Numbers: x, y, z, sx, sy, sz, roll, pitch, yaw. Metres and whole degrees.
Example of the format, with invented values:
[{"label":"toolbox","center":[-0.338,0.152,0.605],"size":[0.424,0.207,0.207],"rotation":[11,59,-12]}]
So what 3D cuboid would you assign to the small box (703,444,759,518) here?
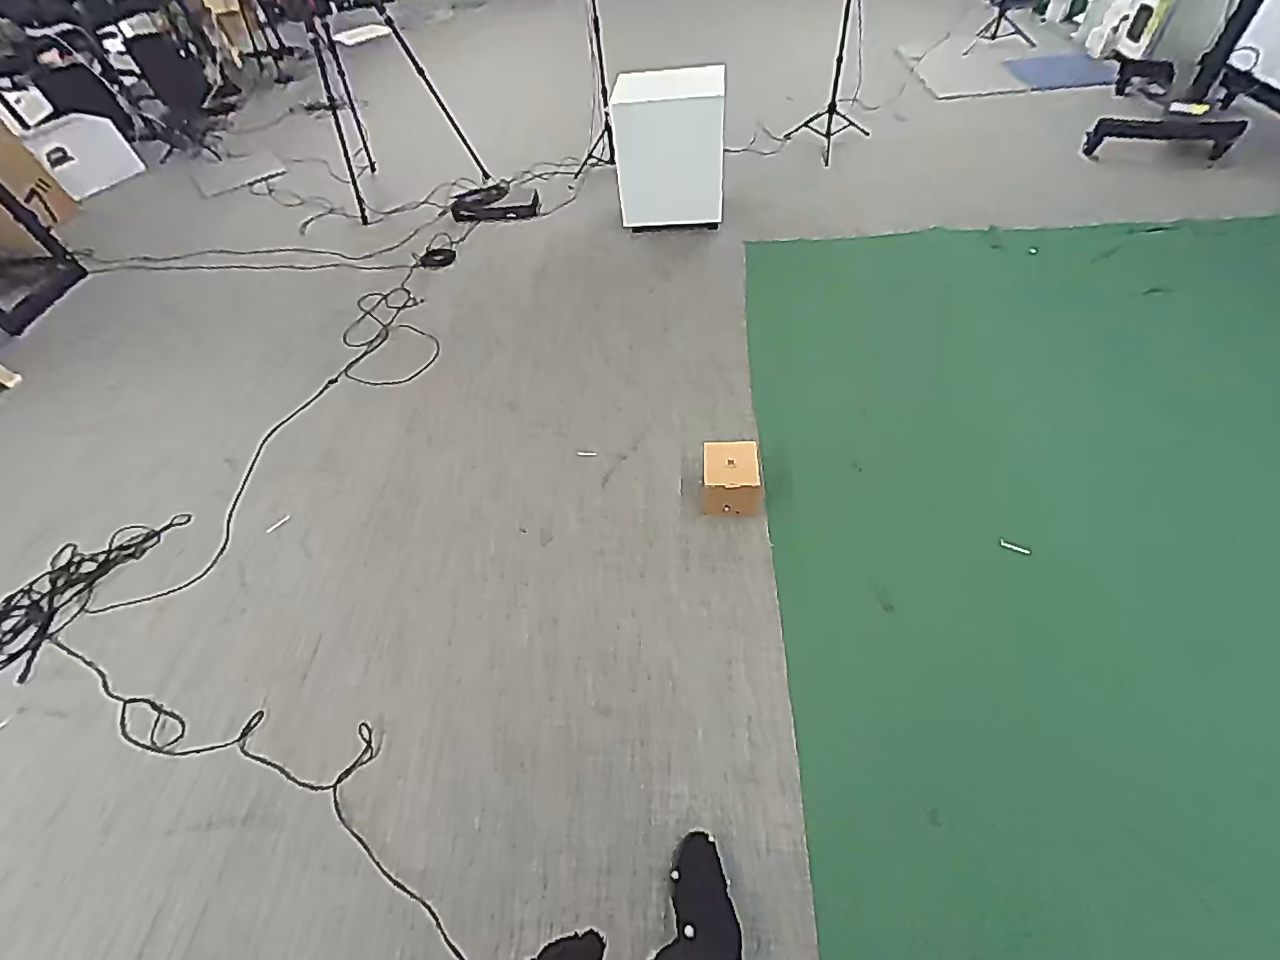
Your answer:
[{"label":"small box","center":[0.285,0.004,1.722],"size":[0.168,0.176,0.179],"rotation":[-1,52,6]}]
